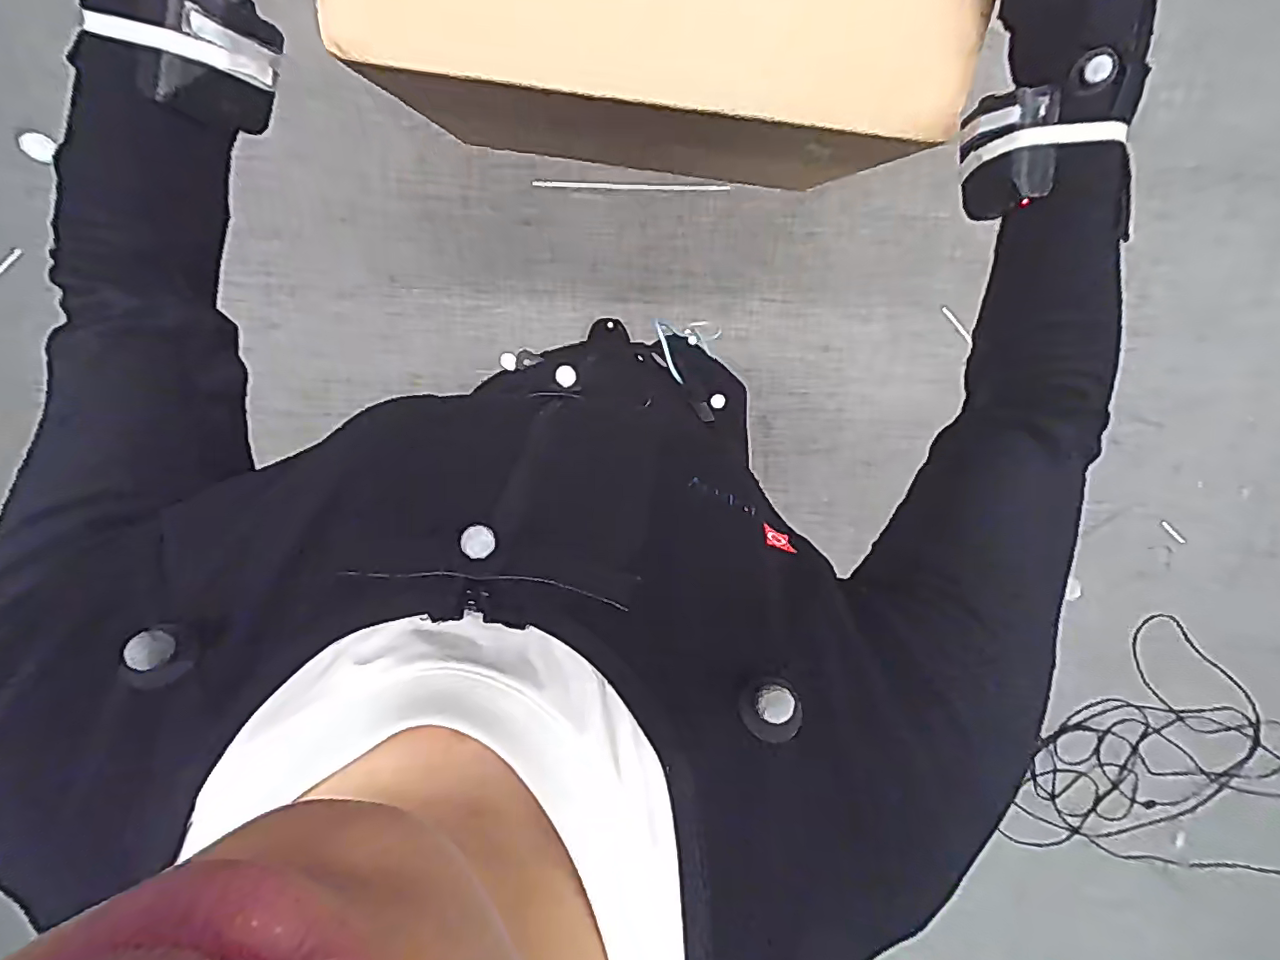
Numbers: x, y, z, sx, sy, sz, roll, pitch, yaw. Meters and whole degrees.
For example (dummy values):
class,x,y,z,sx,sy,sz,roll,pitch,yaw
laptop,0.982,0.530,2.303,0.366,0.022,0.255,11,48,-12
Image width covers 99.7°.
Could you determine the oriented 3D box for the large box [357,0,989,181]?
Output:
class,x,y,z,sx,sy,sz,roll,pitch,yaw
large box,0.026,-0.452,0.436,0.408,0.320,0.320,5,113,-5
